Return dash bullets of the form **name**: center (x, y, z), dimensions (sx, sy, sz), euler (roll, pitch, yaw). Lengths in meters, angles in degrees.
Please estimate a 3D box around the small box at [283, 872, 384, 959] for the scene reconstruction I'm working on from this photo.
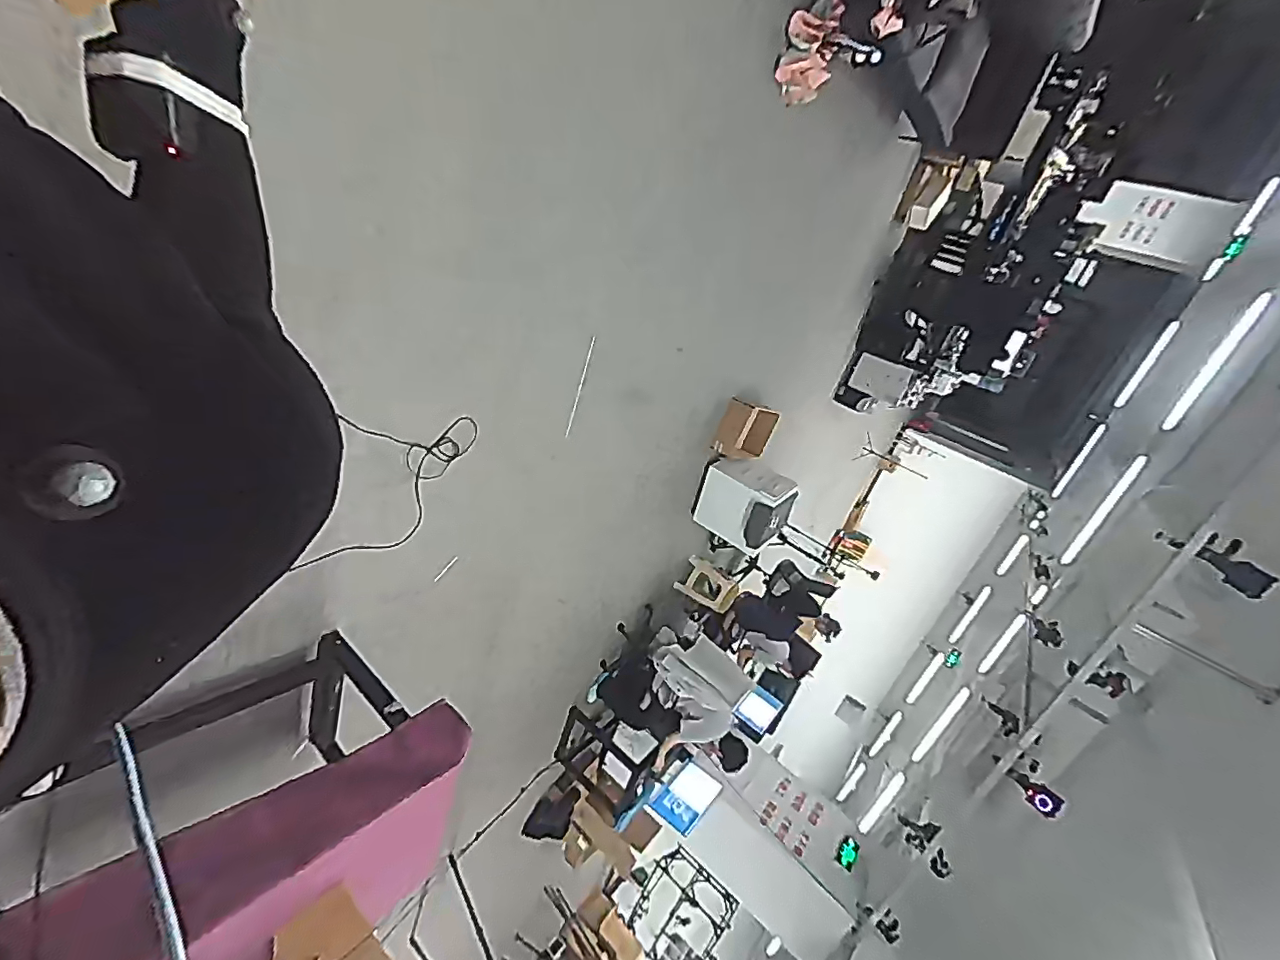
- **small box**: center (-0.815, 1.205, 1.439), dimensions (0.179, 0.176, 0.168), euler (-16, 132, -51)

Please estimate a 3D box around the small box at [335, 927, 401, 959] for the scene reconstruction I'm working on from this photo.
- **small box**: center (-0.697, 1.290, 1.359), dimensions (0.168, 0.176, 0.179), euler (-17, 133, -52)
